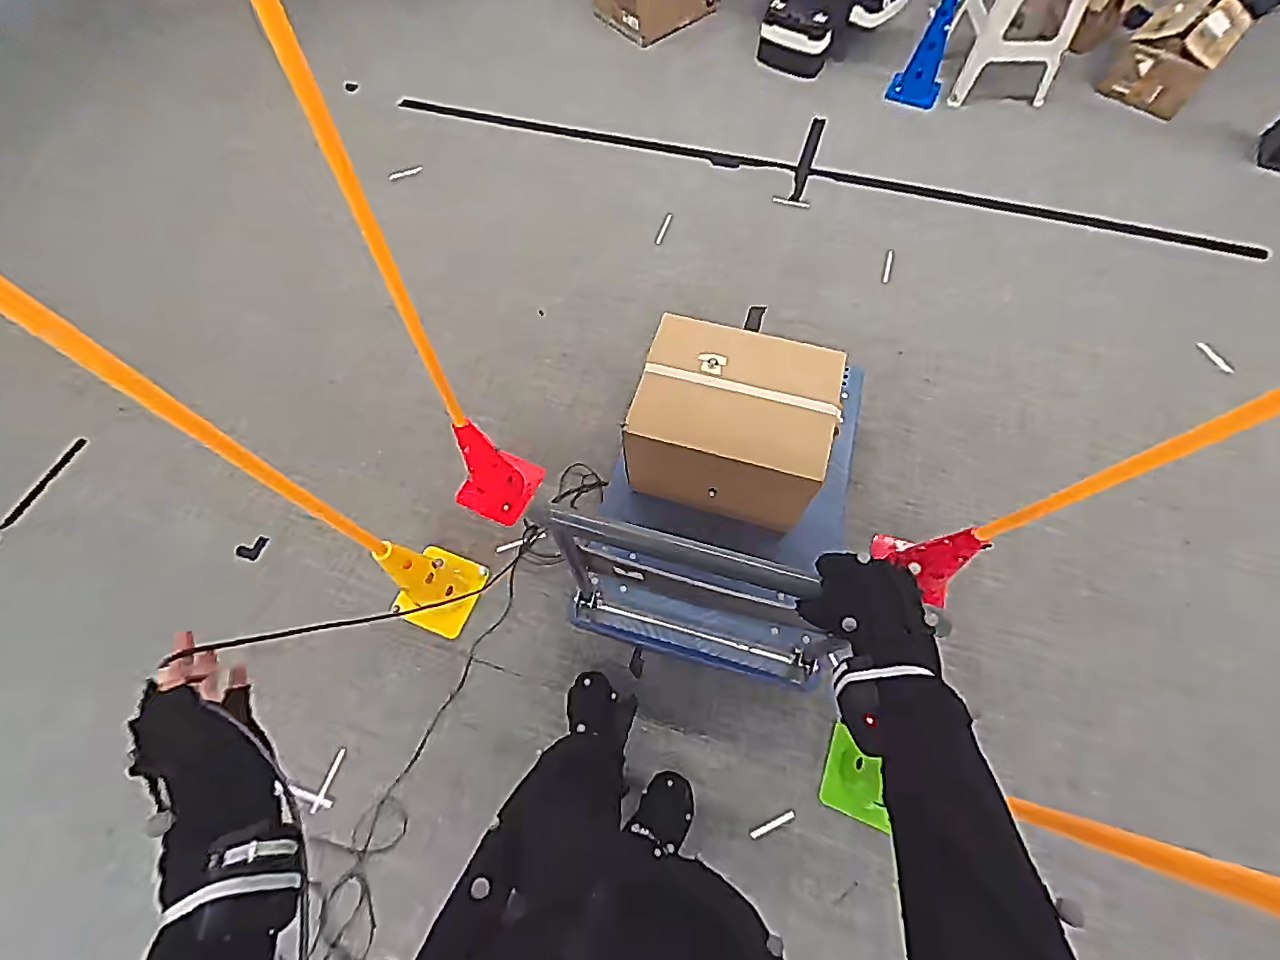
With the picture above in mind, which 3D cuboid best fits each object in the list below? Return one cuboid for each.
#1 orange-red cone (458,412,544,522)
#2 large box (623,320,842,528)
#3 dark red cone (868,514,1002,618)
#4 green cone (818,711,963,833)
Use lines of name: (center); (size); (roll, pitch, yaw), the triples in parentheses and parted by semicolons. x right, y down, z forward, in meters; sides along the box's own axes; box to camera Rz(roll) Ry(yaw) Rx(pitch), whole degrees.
orange-red cone: (-0.402, -0.067, 1.406); (0.198, 0.360, 0.199); (24, 67, 11)
large box: (0.206, -0.116, 1.252); (0.408, 0.320, 0.320); (15, 67, 9)
dark red cone: (0.696, 0.168, 1.243); (0.201, 0.394, 0.202); (17, 67, 7)
green cone: (0.520, 0.587, 1.072); (0.202, 0.368, 0.200); (21, 67, 10)
